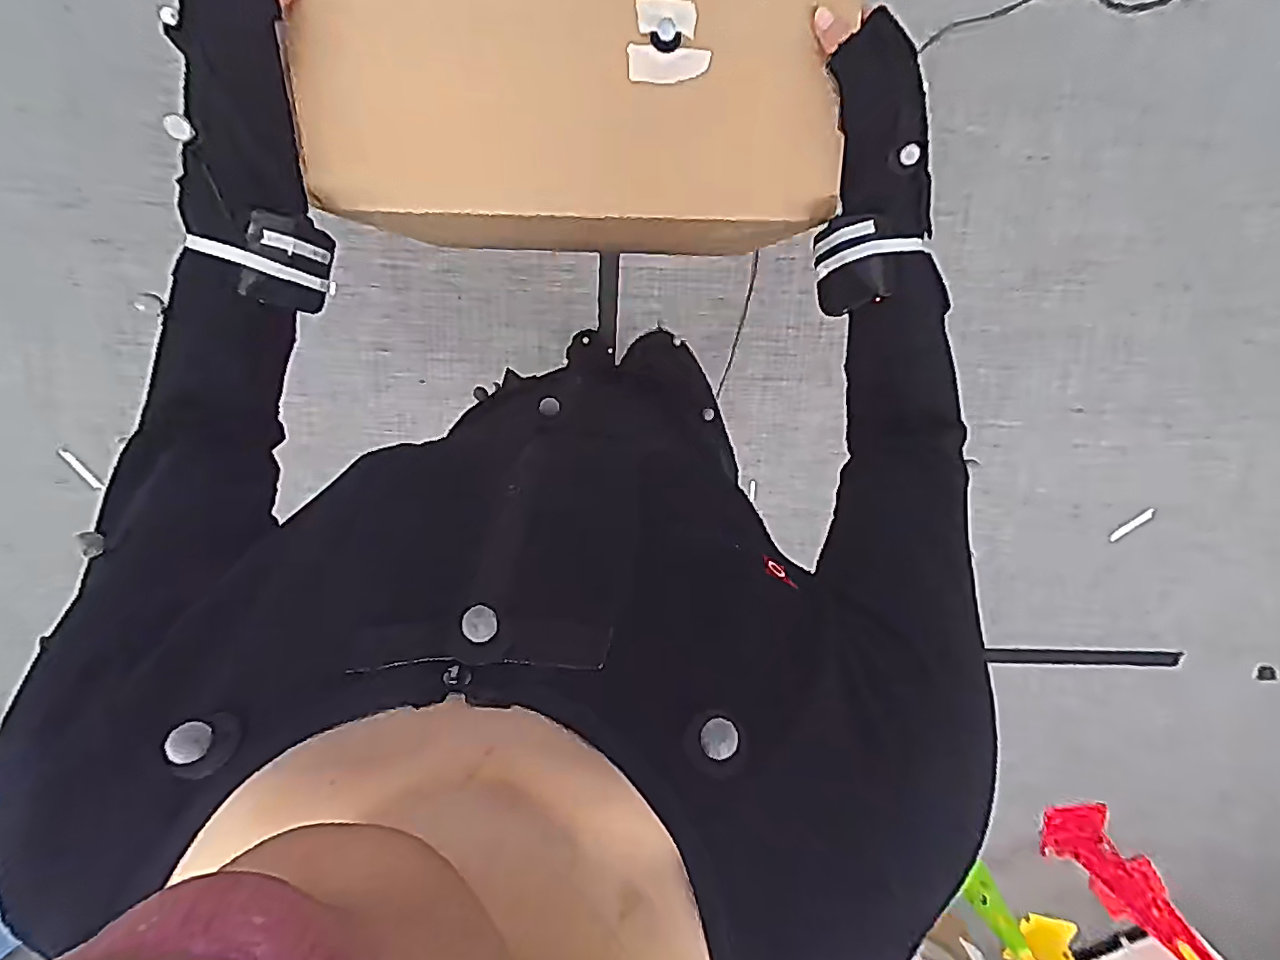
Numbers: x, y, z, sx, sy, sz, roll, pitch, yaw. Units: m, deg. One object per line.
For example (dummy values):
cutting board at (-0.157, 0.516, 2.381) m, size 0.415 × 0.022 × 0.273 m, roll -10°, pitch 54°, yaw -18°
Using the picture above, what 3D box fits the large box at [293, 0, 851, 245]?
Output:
large box at (-0.052, -0.410, 0.519) m, size 0.408 × 0.320 × 0.320 m, roll 0°, pitch 109°, yaw -3°
